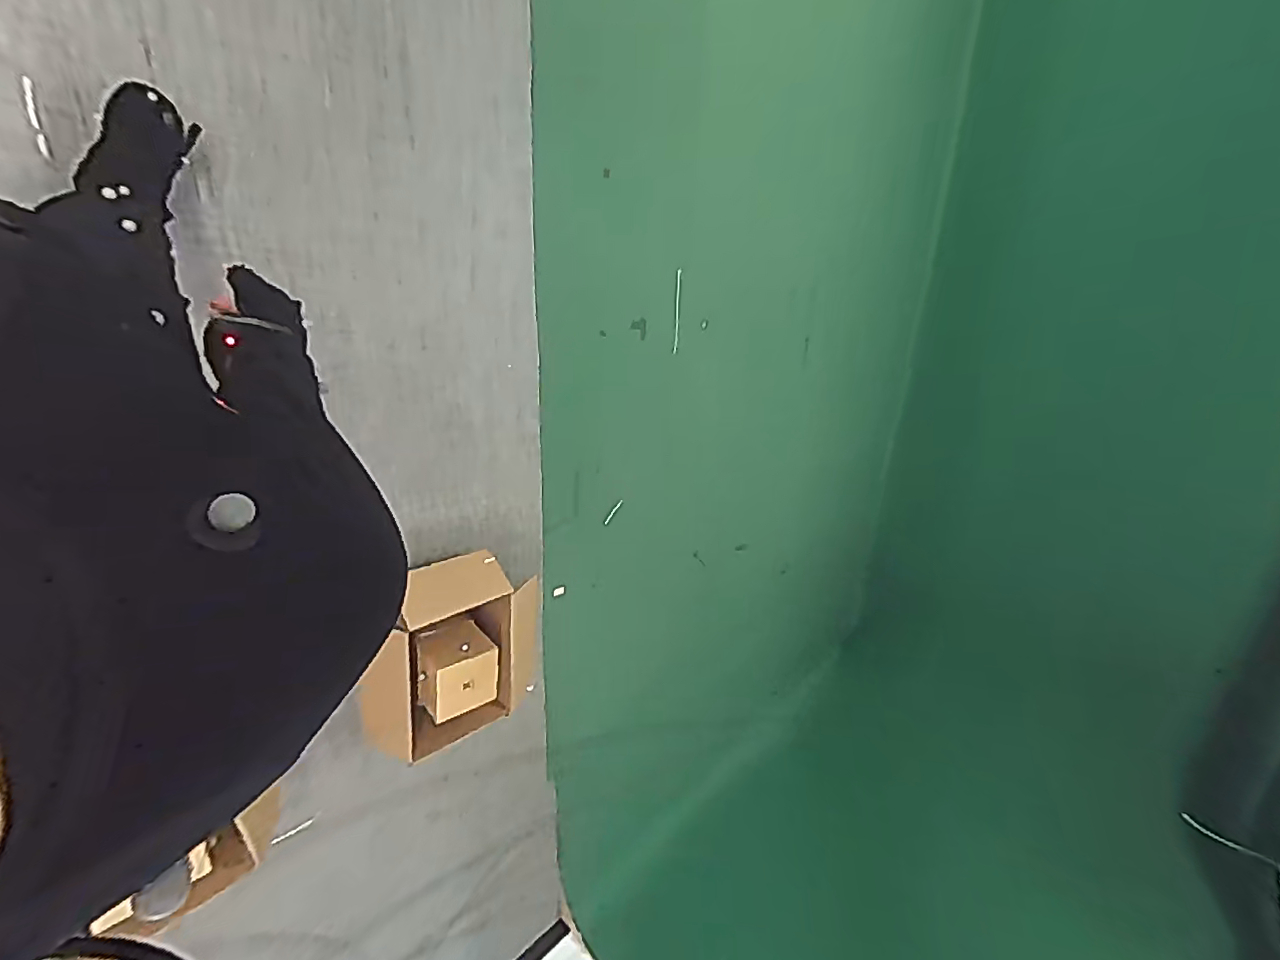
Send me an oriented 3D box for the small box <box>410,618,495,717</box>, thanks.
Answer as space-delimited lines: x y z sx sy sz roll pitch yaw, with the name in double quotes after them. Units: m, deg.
-0.522 0.509 1.493 0.179 0.176 0.168 -11 113 -44 "small box"
